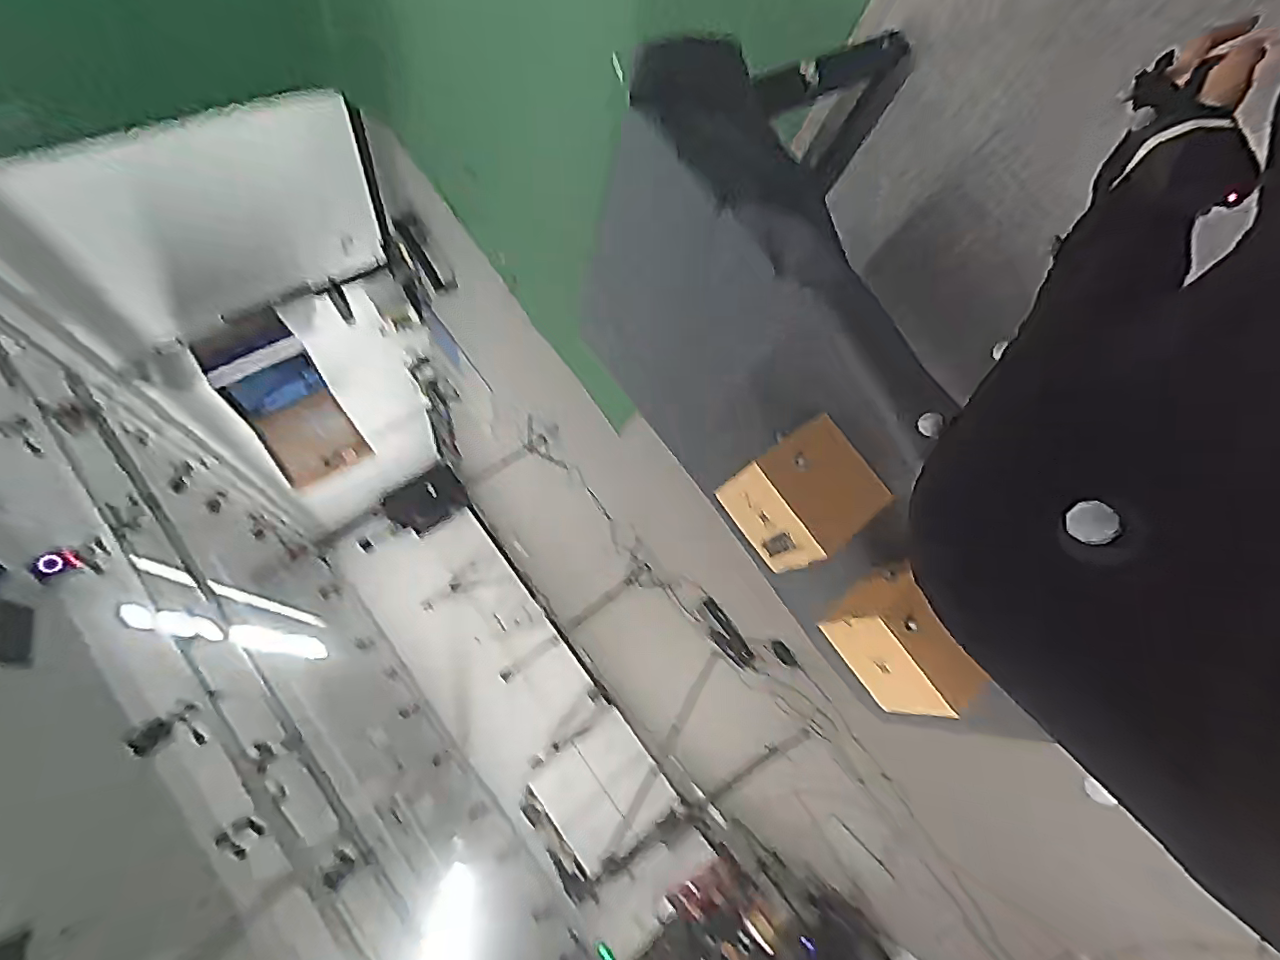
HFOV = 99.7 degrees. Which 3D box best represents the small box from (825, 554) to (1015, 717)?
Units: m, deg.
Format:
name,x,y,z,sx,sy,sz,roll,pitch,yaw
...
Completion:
name,x,y,z,sx,sy,sz,roll,pitch,yaw
small box,0.446,0.247,0.868,0.179,0.176,0.168,53,157,8
